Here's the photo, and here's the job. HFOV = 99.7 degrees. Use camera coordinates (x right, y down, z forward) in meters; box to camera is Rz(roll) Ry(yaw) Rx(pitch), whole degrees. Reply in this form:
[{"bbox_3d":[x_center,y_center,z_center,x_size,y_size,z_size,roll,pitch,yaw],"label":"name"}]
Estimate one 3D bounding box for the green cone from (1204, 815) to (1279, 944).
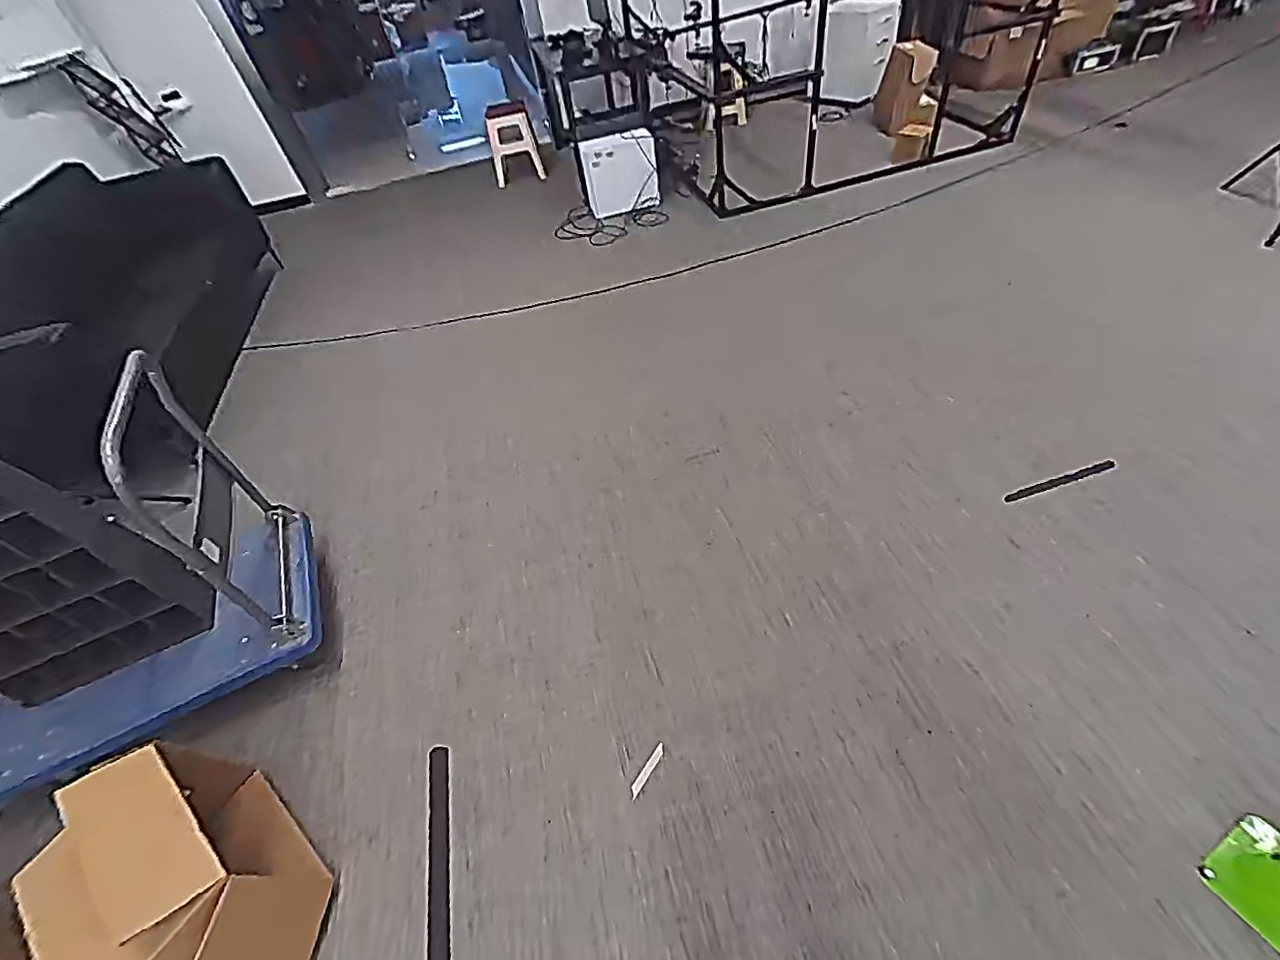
[{"bbox_3d":[1.195,0.658,0.886,0.202,0.368,0.200,-27,49,-15],"label":"green cone"}]
